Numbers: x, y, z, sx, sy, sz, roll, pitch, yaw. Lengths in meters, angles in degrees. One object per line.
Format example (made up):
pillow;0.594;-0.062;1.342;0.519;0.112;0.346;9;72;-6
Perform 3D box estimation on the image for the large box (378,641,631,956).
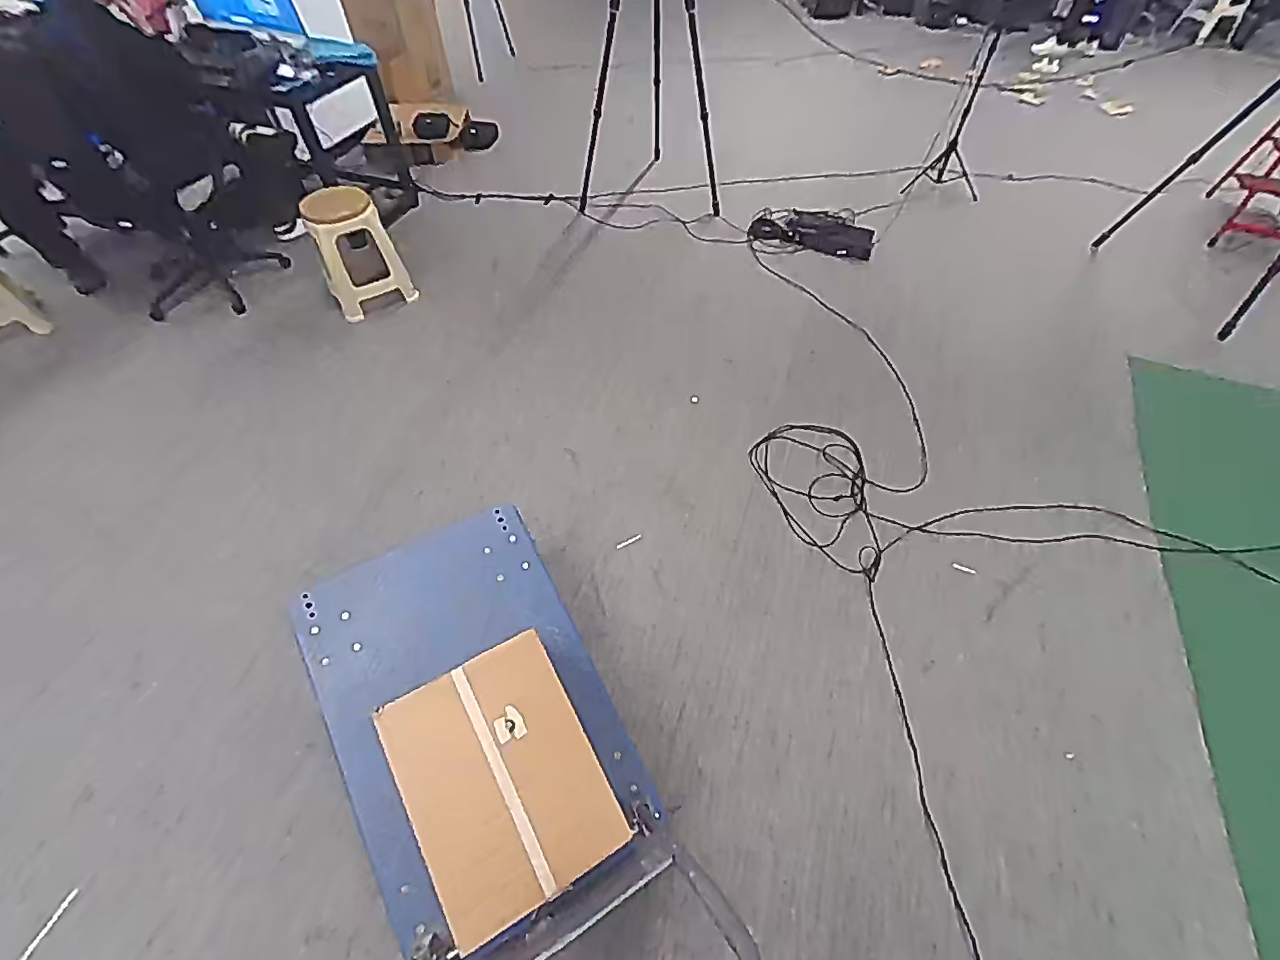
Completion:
large box;-0.259;0.594;1.090;0.320;0.320;0.408;-25;73;-18
